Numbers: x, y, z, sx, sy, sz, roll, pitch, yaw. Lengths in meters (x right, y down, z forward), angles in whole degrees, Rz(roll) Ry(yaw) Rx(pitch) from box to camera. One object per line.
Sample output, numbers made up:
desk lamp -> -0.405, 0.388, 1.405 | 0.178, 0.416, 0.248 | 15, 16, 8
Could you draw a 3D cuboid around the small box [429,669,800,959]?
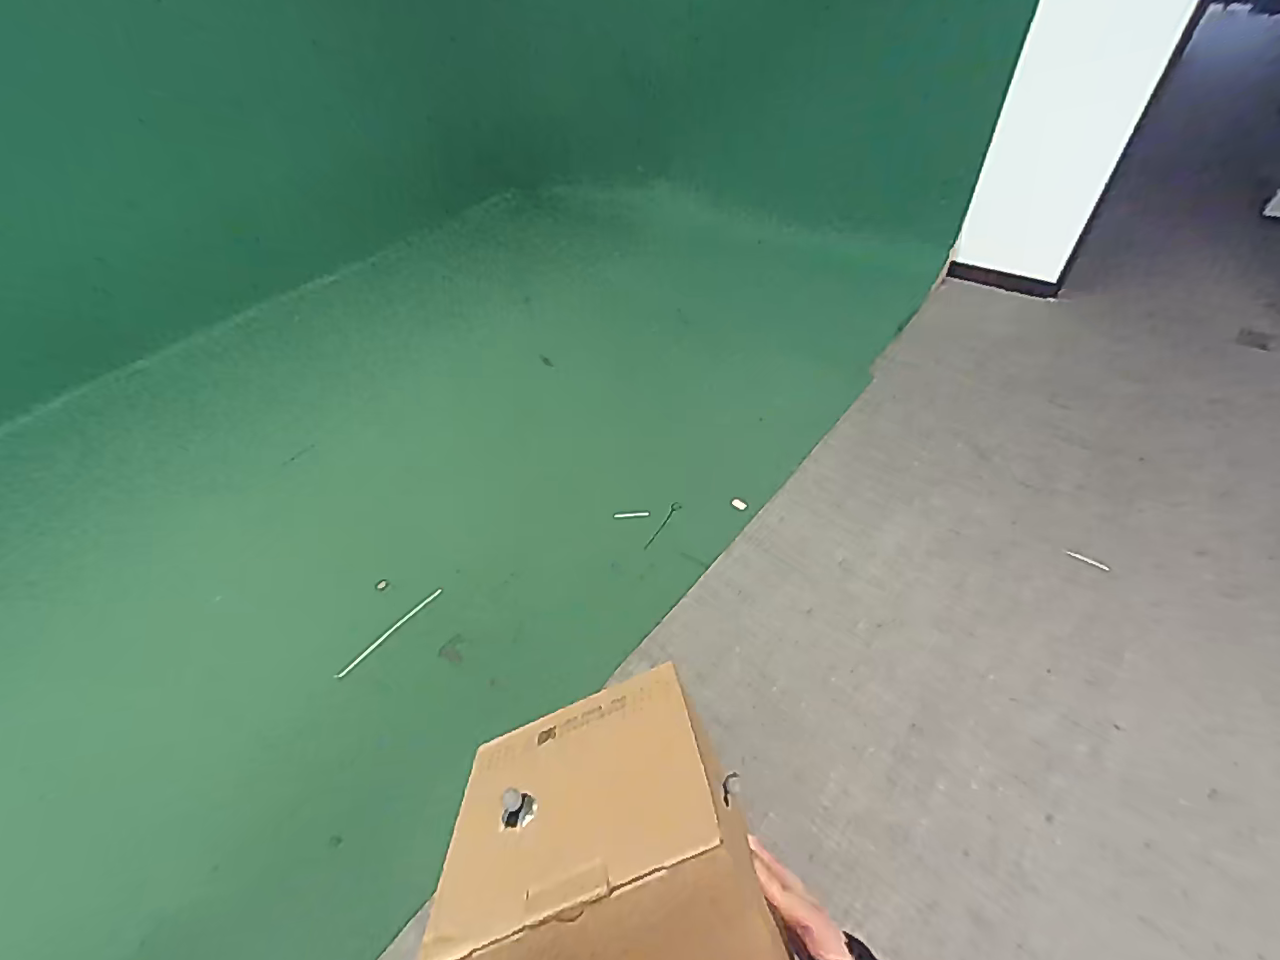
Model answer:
small box -> -0.008, 0.255, 0.364 | 0.168, 0.179, 0.176 | -23, 13, 0
